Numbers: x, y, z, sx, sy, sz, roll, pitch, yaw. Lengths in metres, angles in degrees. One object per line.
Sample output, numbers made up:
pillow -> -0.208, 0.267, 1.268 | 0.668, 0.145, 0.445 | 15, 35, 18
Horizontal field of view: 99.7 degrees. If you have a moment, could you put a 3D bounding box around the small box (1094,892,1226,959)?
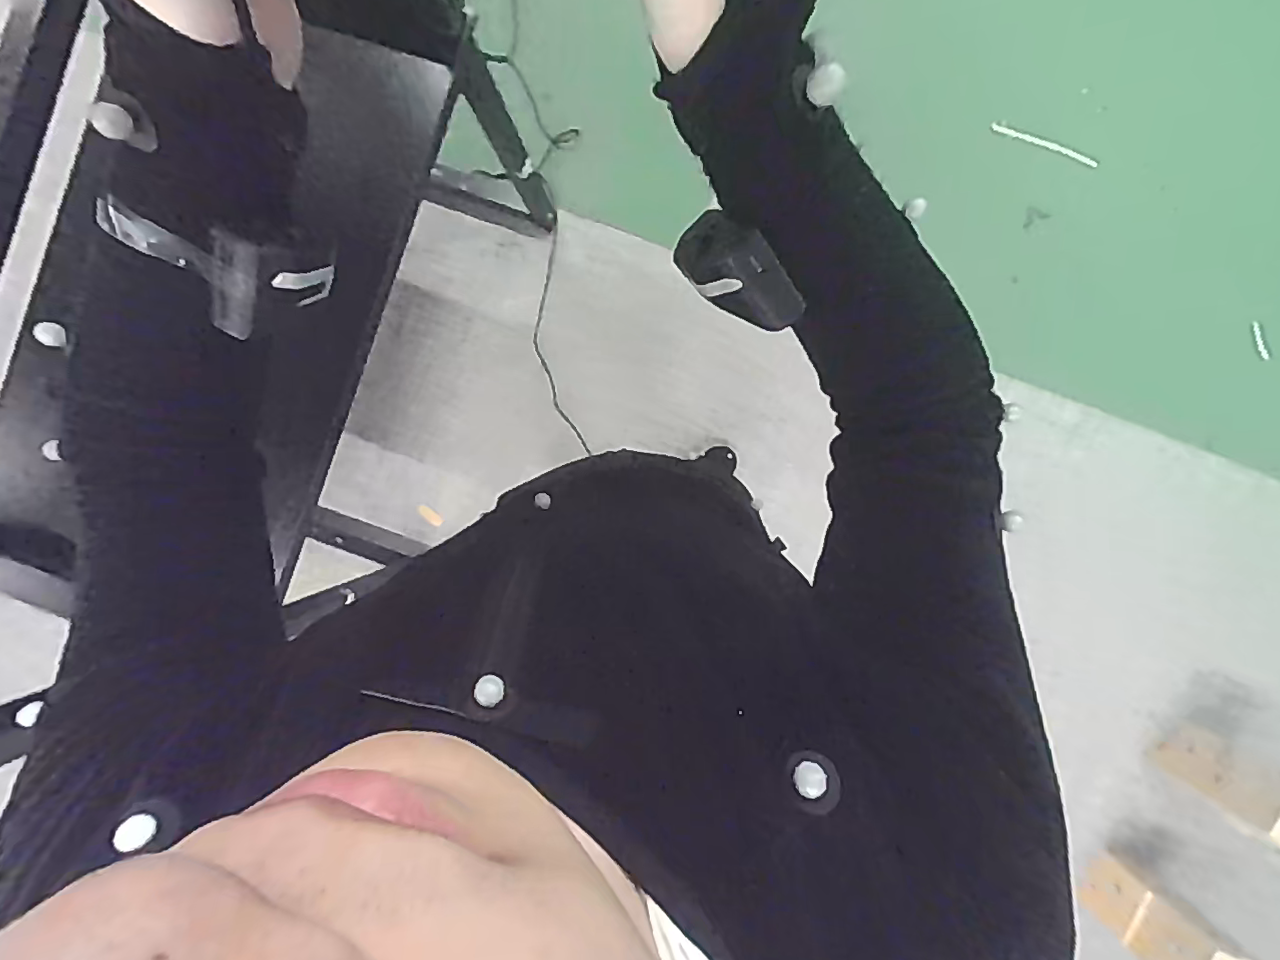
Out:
small box -> 1.318, 1.208, 1.373 | 0.168, 0.176, 0.179 | 25, 92, 1

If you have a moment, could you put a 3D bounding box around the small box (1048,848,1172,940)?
small box -> 1.322, 1.195, 1.537 | 0.179, 0.176, 0.168 | 23, 93, 1
